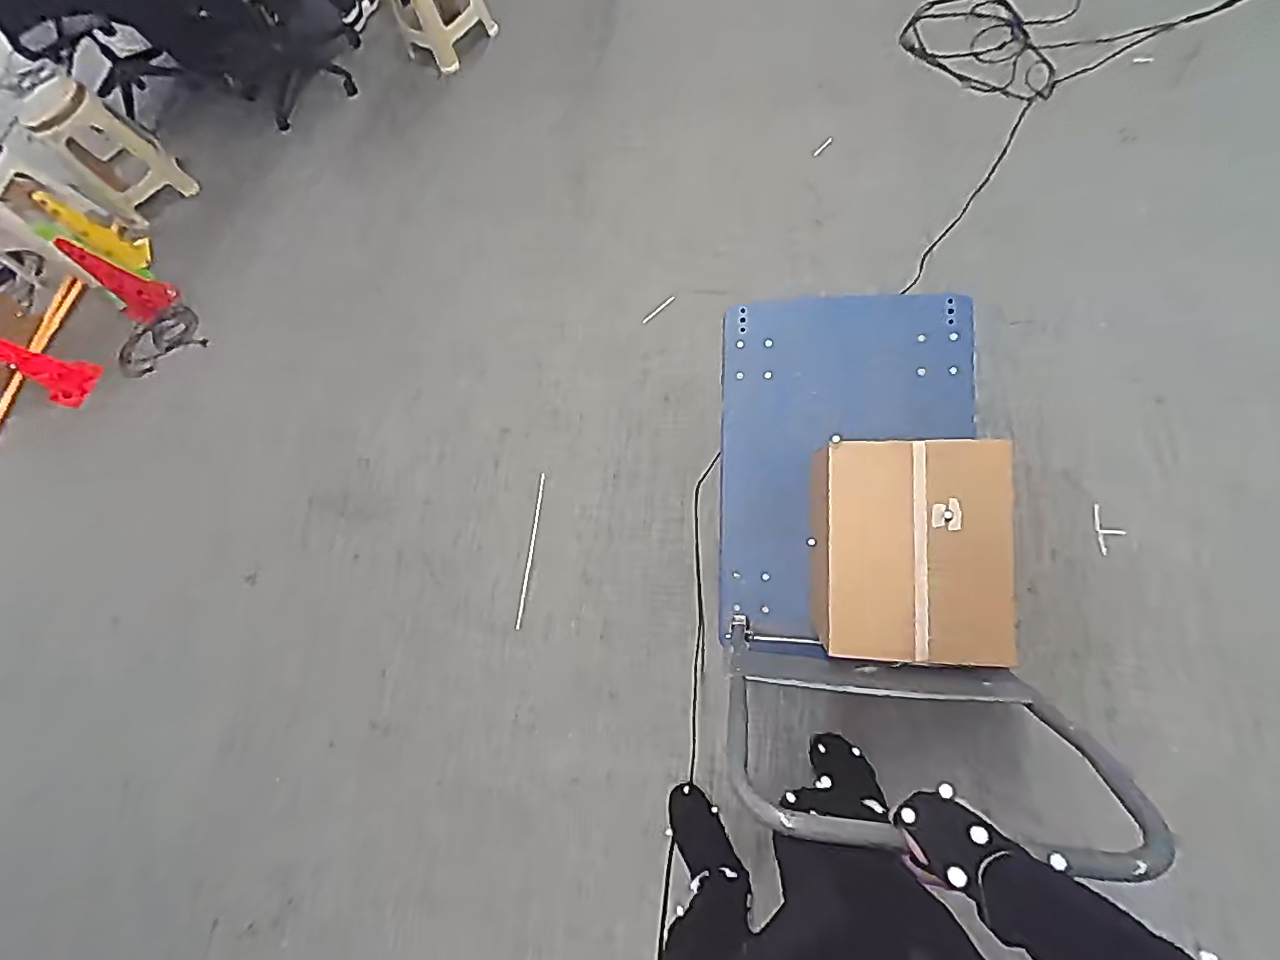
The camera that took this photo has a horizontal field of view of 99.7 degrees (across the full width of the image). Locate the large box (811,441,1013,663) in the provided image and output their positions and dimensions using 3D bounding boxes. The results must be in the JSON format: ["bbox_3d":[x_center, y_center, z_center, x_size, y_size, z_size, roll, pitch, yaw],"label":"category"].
[{"bbox_3d":[0.538,0.140,1.142,0.320,0.320,0.408,0,87,10],"label":"large box"}]
